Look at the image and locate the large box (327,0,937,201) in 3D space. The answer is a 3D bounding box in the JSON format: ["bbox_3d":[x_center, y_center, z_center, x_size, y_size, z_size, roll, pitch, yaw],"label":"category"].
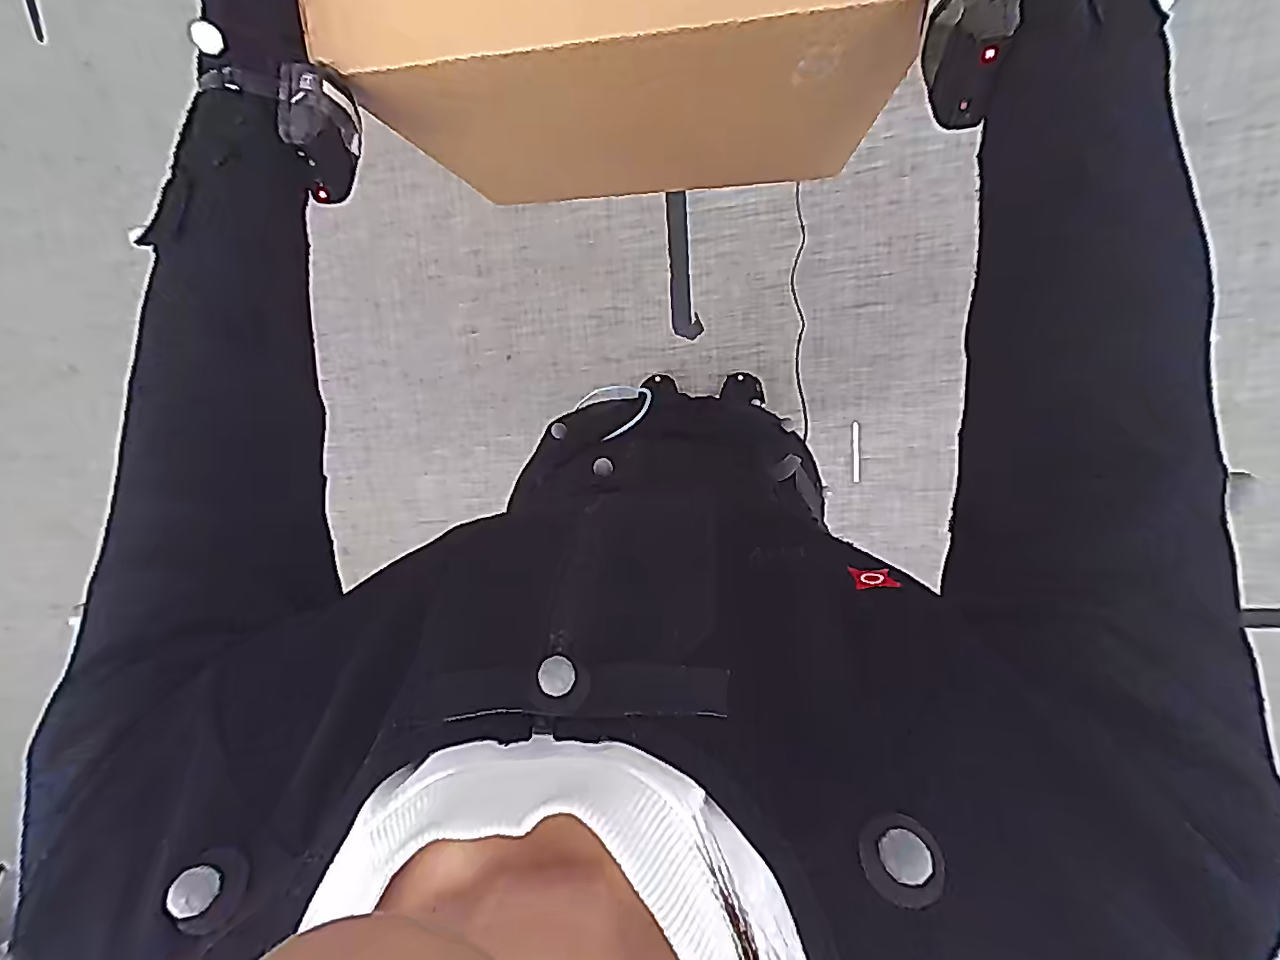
[{"bbox_3d":[-0.002,-0.463,0.457,0.408,0.320,0.320,-2,102,7],"label":"large box"}]
